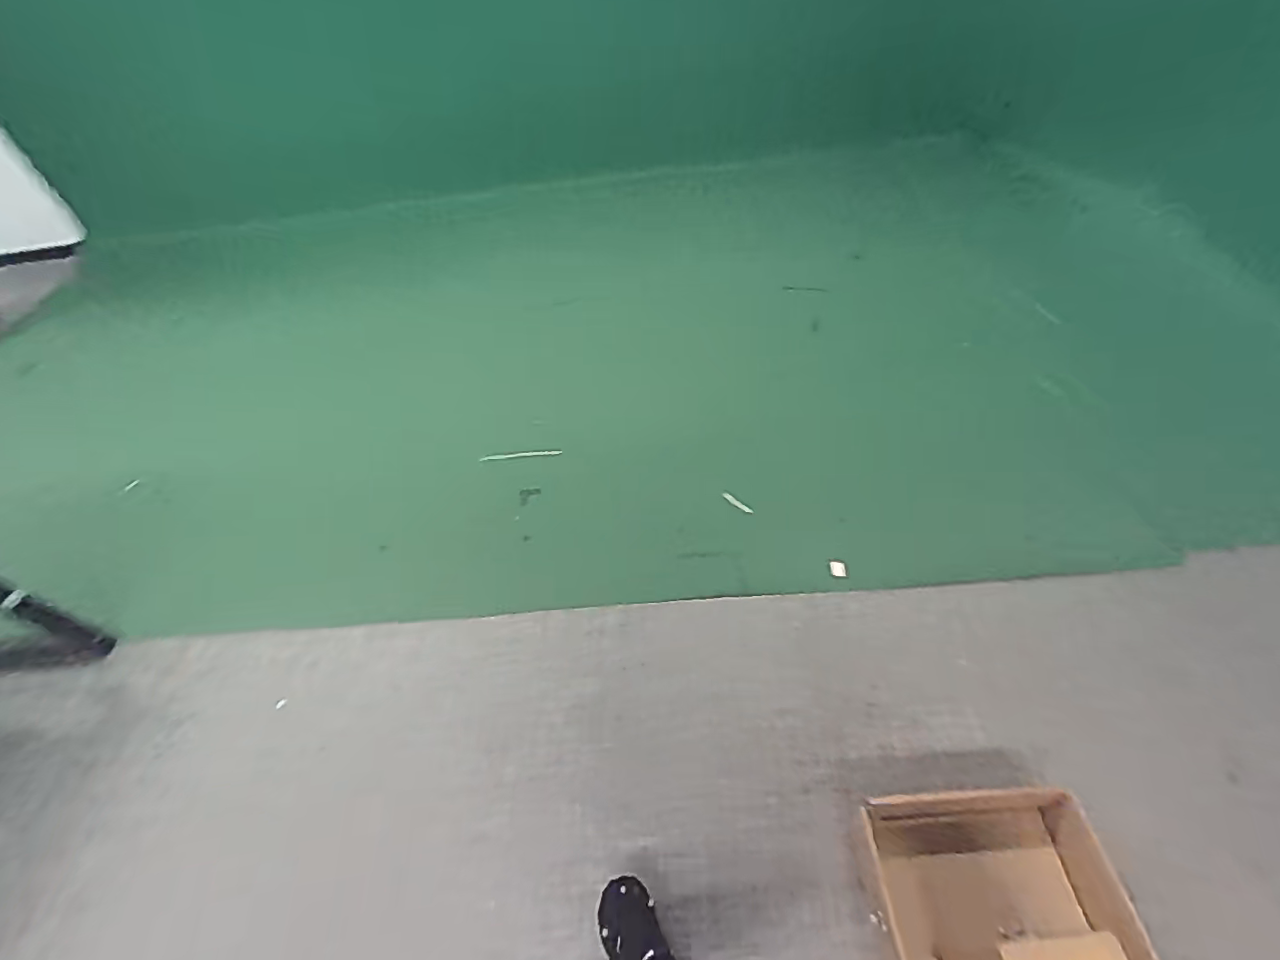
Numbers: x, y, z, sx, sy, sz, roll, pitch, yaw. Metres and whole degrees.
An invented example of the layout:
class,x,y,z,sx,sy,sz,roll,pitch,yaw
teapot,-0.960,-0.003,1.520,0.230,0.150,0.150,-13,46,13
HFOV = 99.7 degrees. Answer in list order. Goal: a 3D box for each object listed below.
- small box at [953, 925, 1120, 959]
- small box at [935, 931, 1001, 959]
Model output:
class,x,y,z,sx,sy,sz,roll,pitch,yaw
small box,0.585,0.752,0.761,0.168,0.176,0.179,-10,50,-2
small box,0.619,0.860,0.900,0.179,0.176,0.168,-5,49,3
